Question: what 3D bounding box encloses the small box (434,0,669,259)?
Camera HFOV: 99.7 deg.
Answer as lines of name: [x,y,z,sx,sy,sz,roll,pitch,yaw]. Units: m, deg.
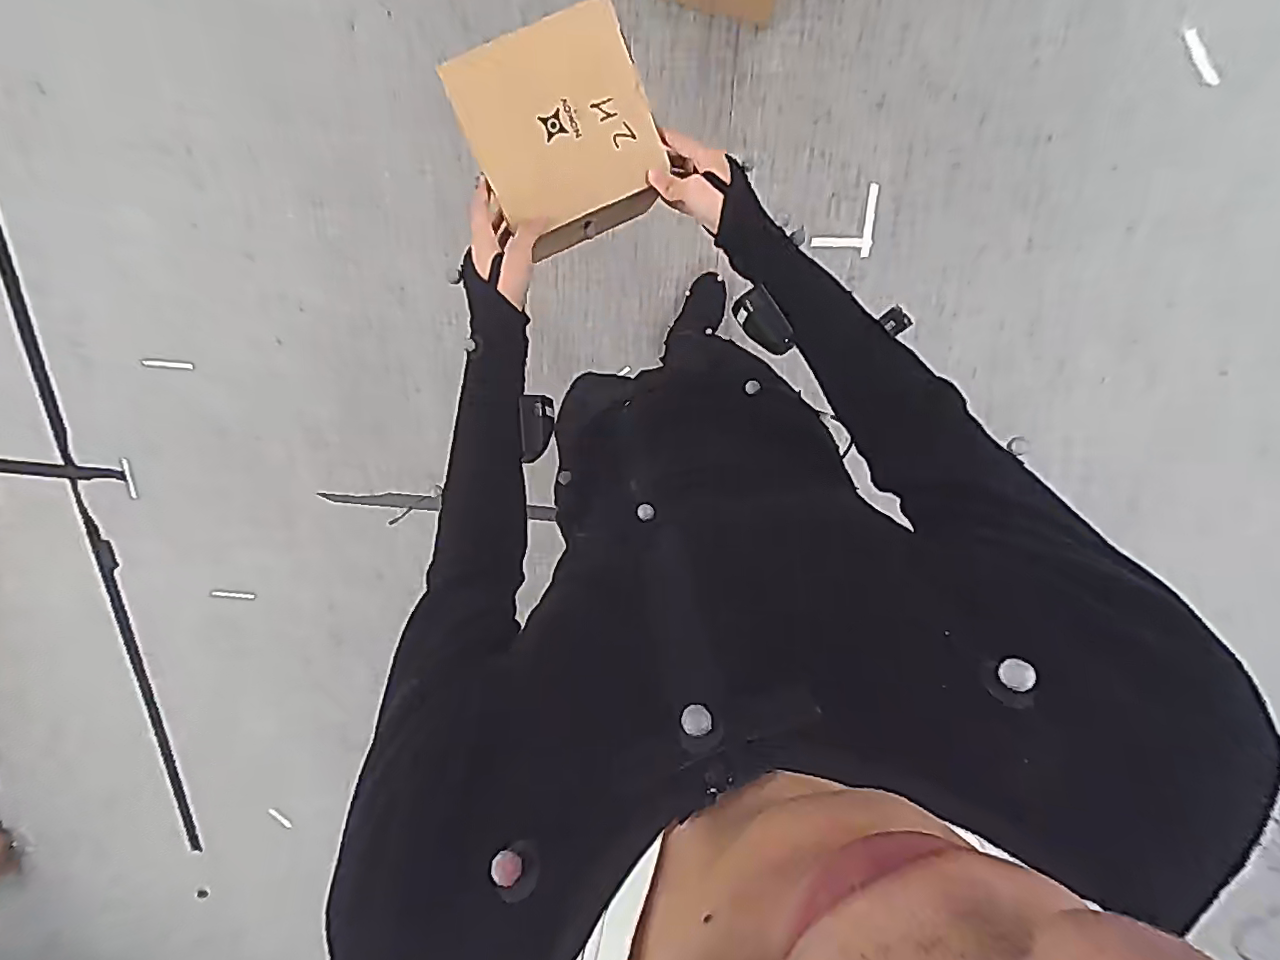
small box: [-0.091,-0.361,0.591,0.179,0.176,0.168,-26,108,-3]
